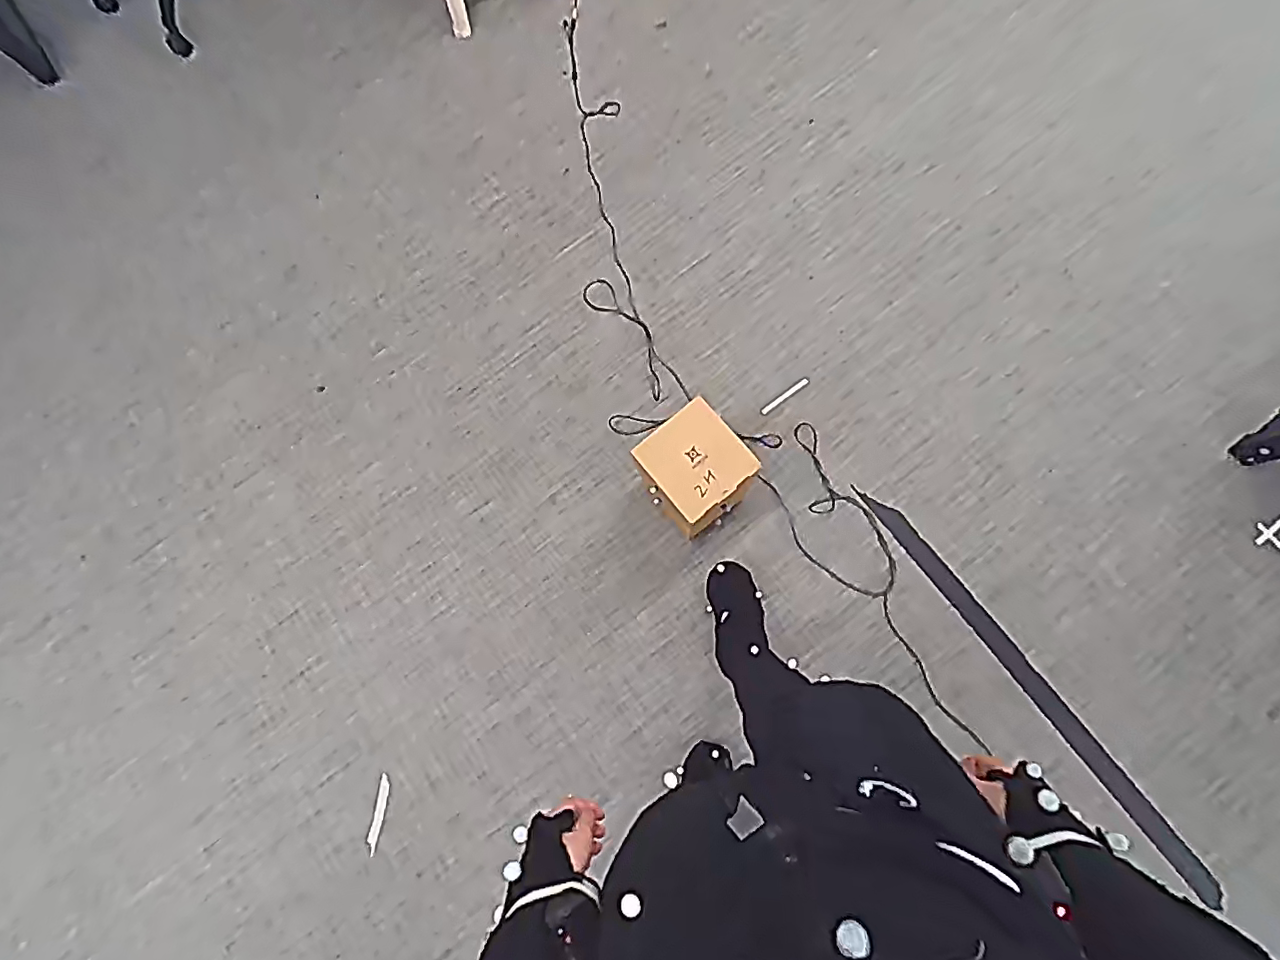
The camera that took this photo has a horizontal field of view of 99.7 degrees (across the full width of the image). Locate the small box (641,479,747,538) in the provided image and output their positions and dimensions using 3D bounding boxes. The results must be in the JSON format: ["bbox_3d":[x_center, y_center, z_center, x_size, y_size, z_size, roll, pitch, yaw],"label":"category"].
[{"bbox_3d":[0.111,0.013,1.200,0.168,0.176,0.179,-37,79,-3],"label":"small box"}]

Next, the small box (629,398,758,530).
[{"bbox_3d":[0.099,-0.021,1.038,0.168,0.176,0.179,-39,79,-3],"label":"small box"}]
